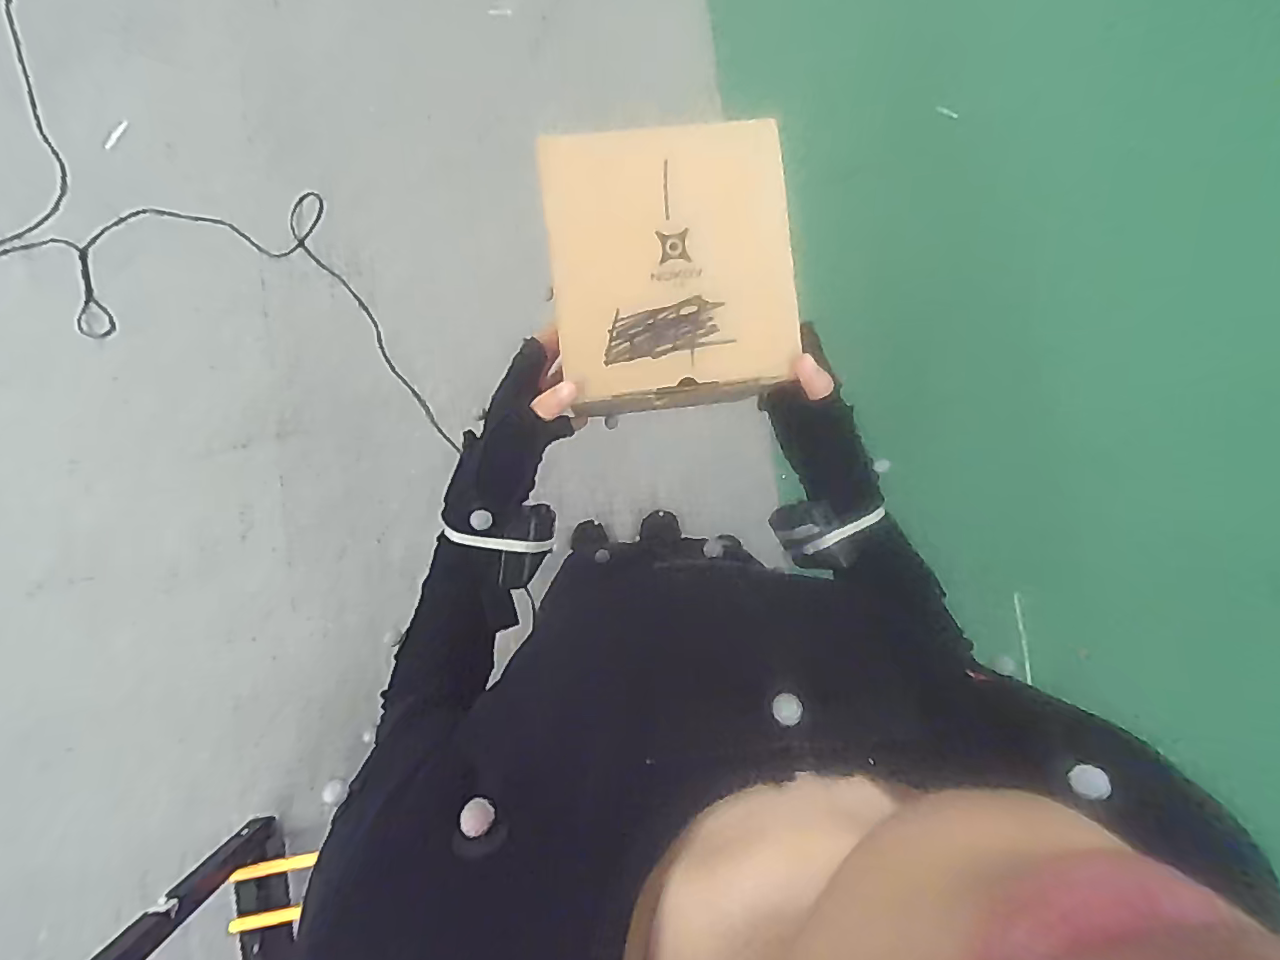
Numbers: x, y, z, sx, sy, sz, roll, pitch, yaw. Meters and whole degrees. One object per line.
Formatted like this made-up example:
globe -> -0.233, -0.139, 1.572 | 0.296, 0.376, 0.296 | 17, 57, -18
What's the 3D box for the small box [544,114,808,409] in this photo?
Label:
small box -> 0.021, -0.153, 0.439 | 0.168, 0.176, 0.179 | -7, 92, -4
